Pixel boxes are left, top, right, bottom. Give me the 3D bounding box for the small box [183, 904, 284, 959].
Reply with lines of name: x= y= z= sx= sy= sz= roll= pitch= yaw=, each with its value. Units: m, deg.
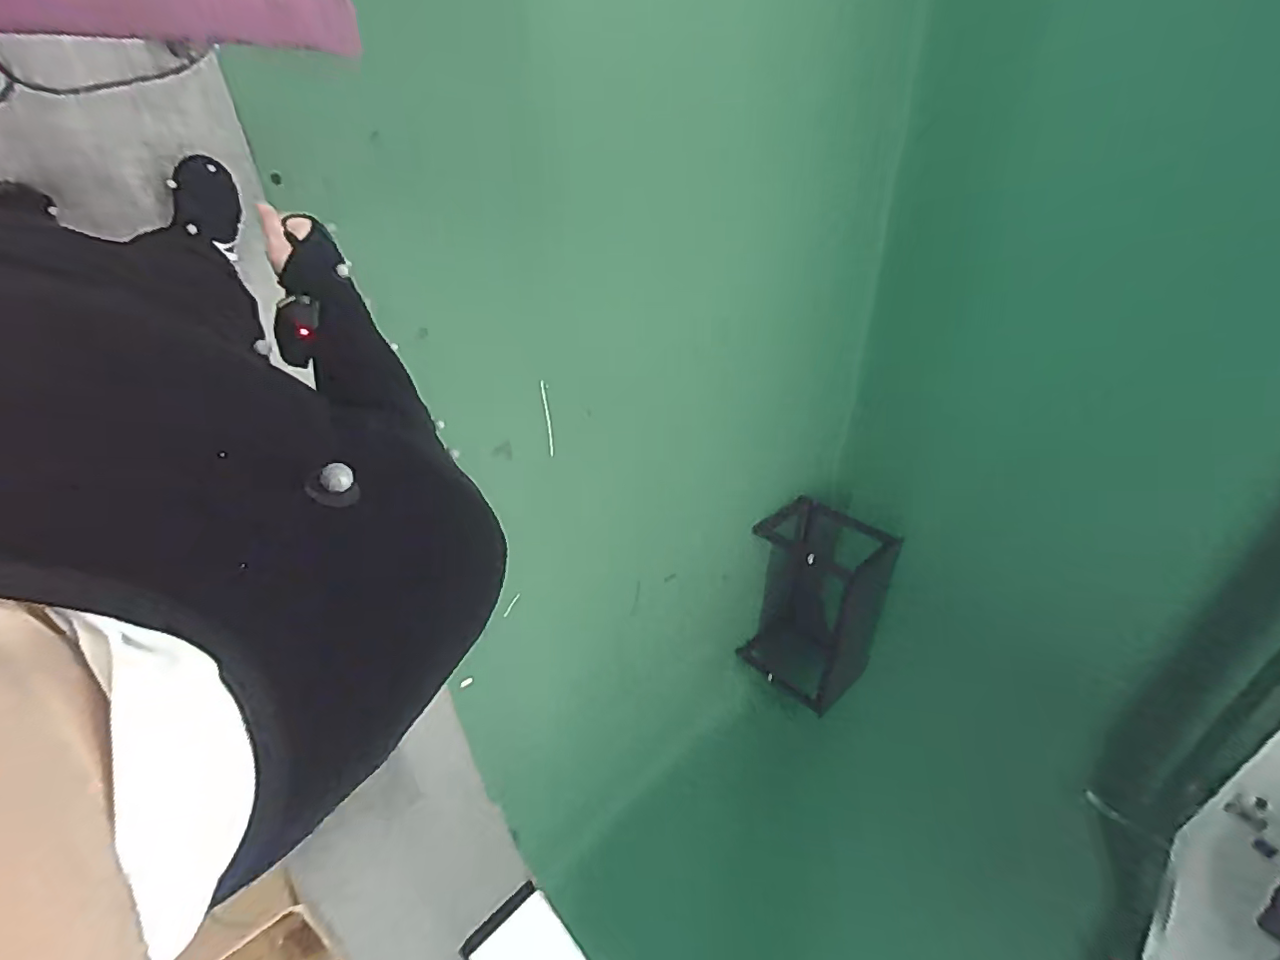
small box: x=-1.048 y=1.260 z=1.403 sx=0.168 sy=0.176 sz=0.179 roll=-25 pitch=129 yaw=-36
